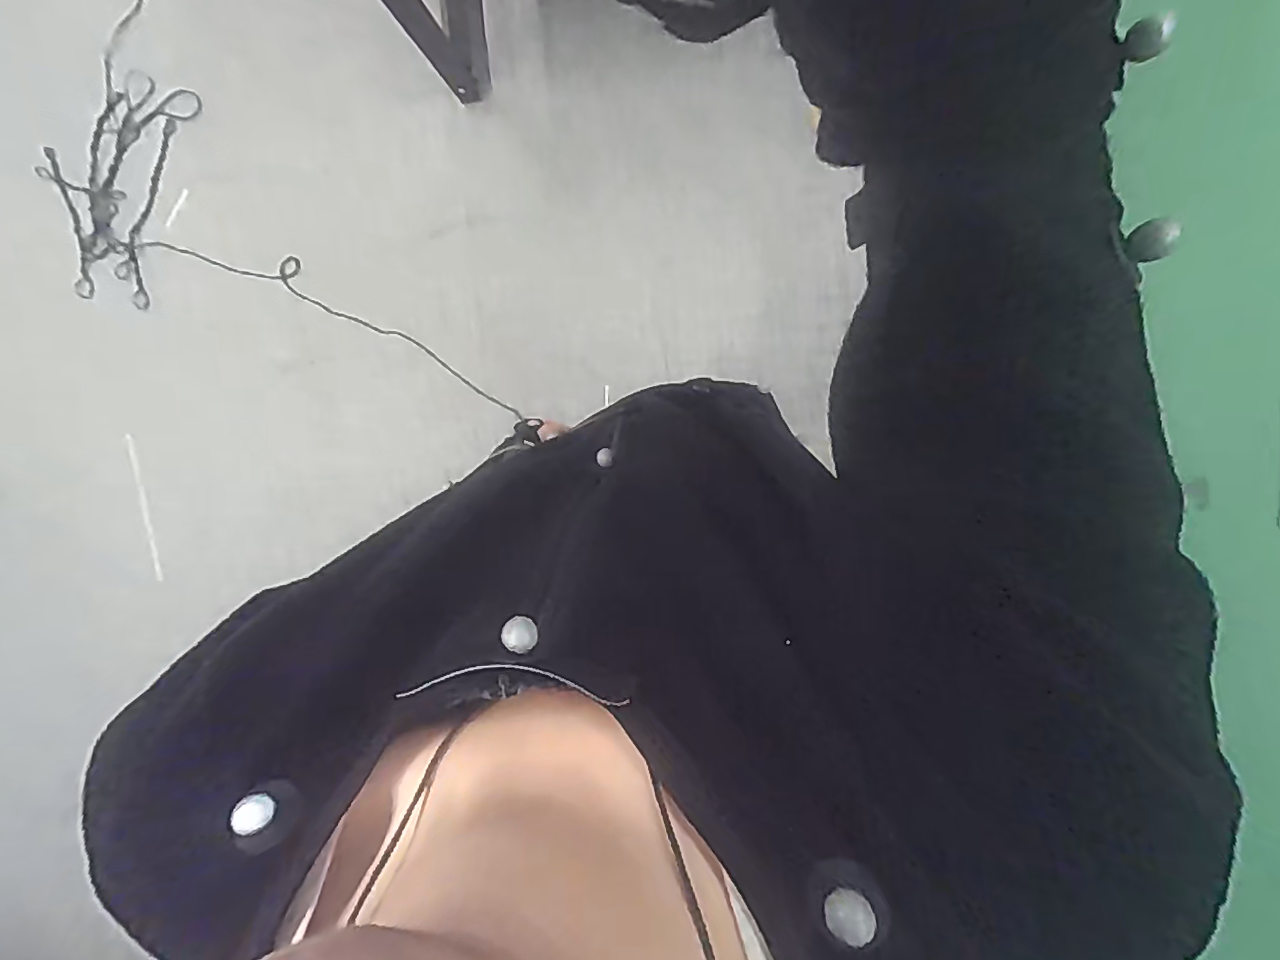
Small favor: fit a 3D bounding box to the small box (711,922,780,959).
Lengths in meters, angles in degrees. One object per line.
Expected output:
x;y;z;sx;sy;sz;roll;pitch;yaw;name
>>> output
0.292;1.262;1.524;0.179;0.176;0.168;2;97;6;small box
